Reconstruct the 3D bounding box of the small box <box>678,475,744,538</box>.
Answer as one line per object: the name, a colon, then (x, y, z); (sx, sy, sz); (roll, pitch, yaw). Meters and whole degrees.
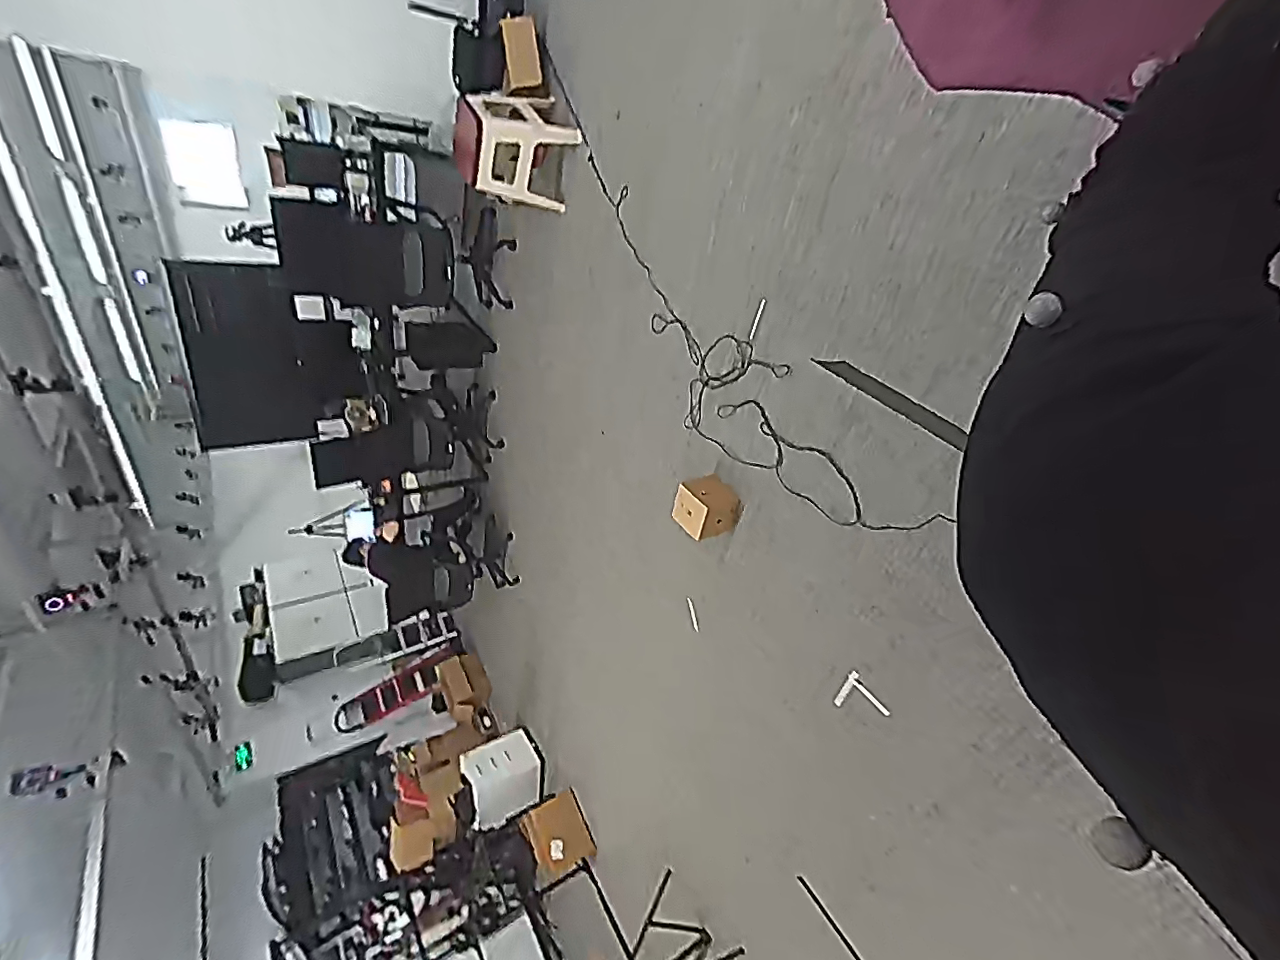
small box: (0.278, 0.097, 2.113); (0.179, 0.176, 0.168); (47, 136, 40)
